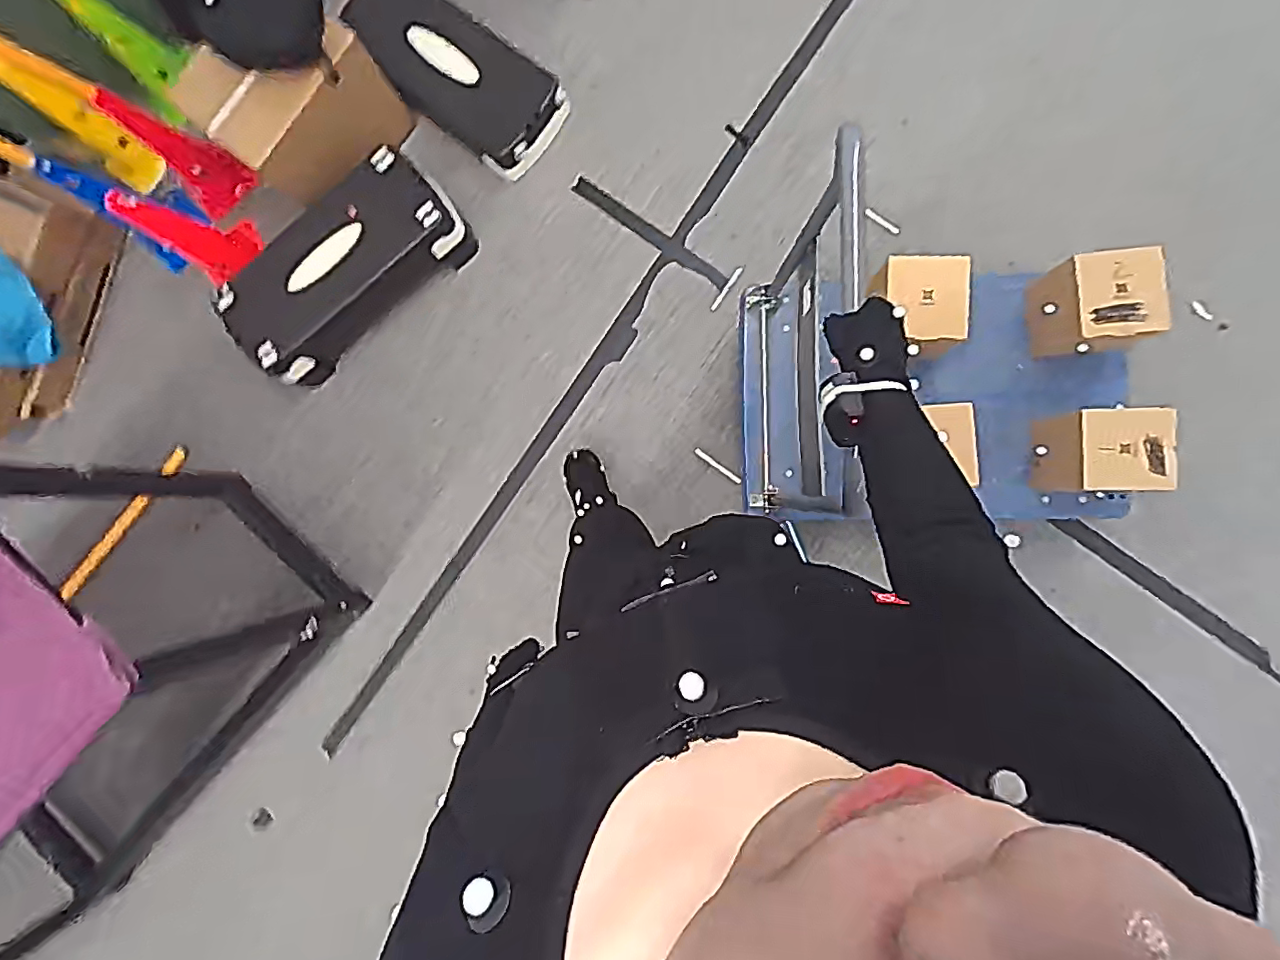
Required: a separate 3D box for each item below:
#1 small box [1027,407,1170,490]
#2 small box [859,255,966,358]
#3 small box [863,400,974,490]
[{"bbox_3d":[0.976,-0.064,1.163,0.179,0.176,0.168,0,88,6],"label":"small box"},{"bbox_3d":[0.598,-0.381,1.204,0.168,0.176,0.179,2,90,5],"label":"small box"},{"bbox_3d":[0.605,-0.071,1.194,0.168,0.176,0.179,-3,88,5],"label":"small box"}]
